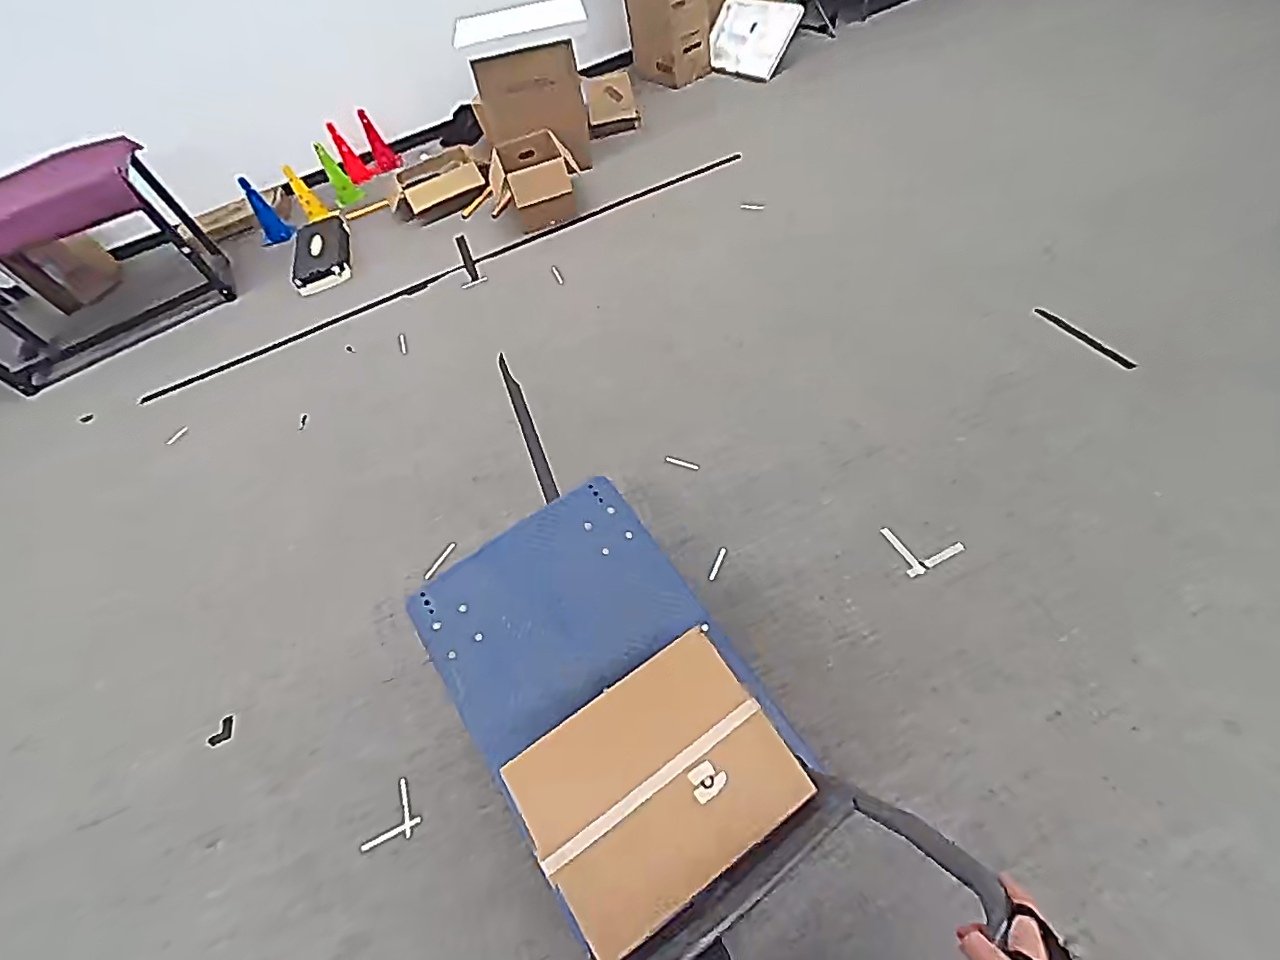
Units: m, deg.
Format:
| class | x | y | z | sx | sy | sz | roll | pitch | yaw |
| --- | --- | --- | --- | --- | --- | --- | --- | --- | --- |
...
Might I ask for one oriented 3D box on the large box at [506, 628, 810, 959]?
| class | x | y | z | sx | sy | sz | roll | pitch | yaw |
| --- | --- | --- | --- | --- | --- | --- | --- | --- | --- |
| large box | 0.028 | 0.542 | 1.004 | 0.408 | 0.320 | 0.320 | -33 | 71 | -13 |
